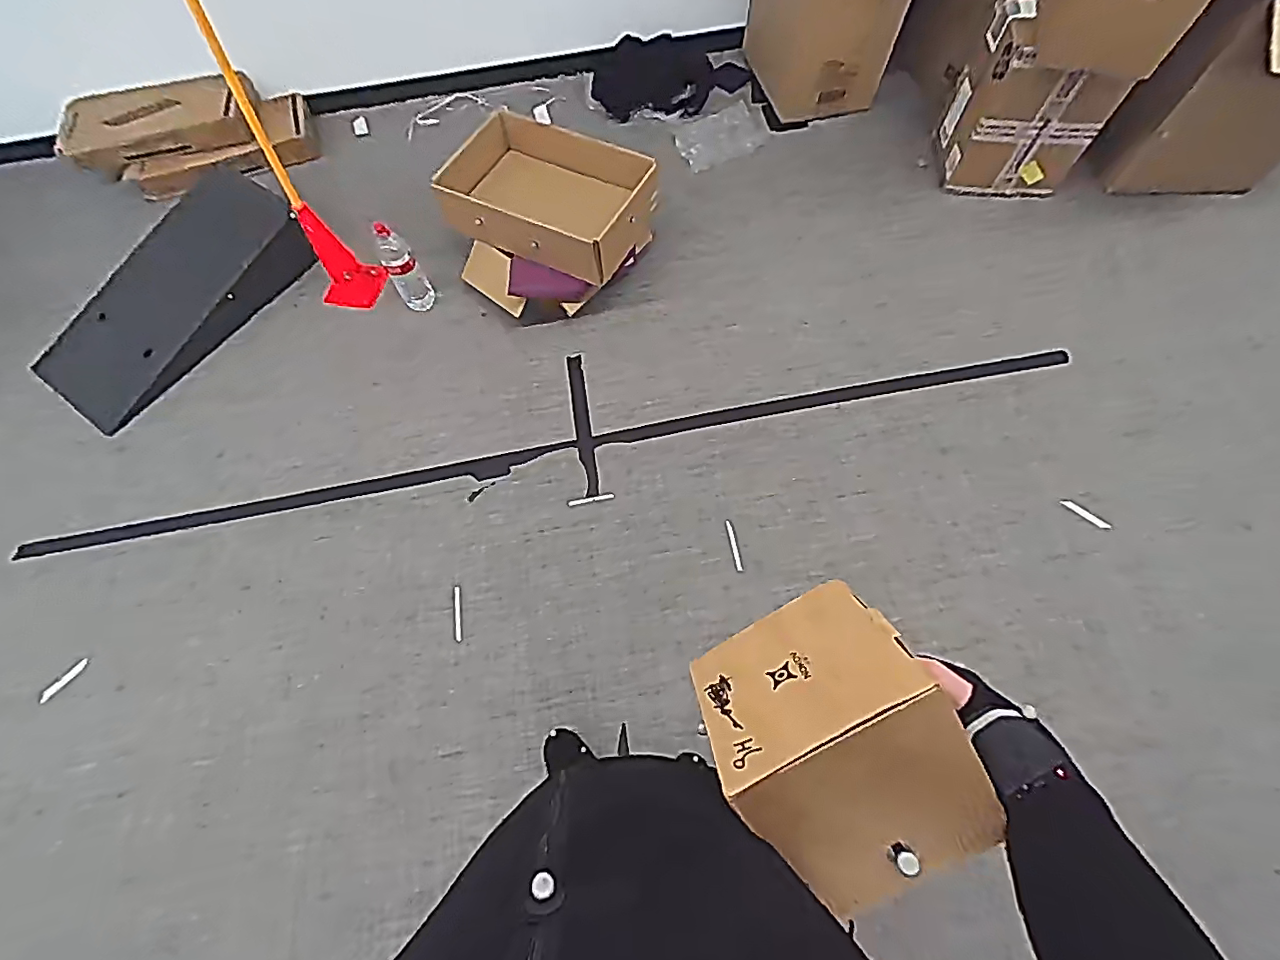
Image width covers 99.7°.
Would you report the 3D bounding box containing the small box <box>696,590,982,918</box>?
[{"bbox_3d":[0.177,0.241,0.499,0.179,0.168,0.176,-31,105,4],"label":"small box"}]
